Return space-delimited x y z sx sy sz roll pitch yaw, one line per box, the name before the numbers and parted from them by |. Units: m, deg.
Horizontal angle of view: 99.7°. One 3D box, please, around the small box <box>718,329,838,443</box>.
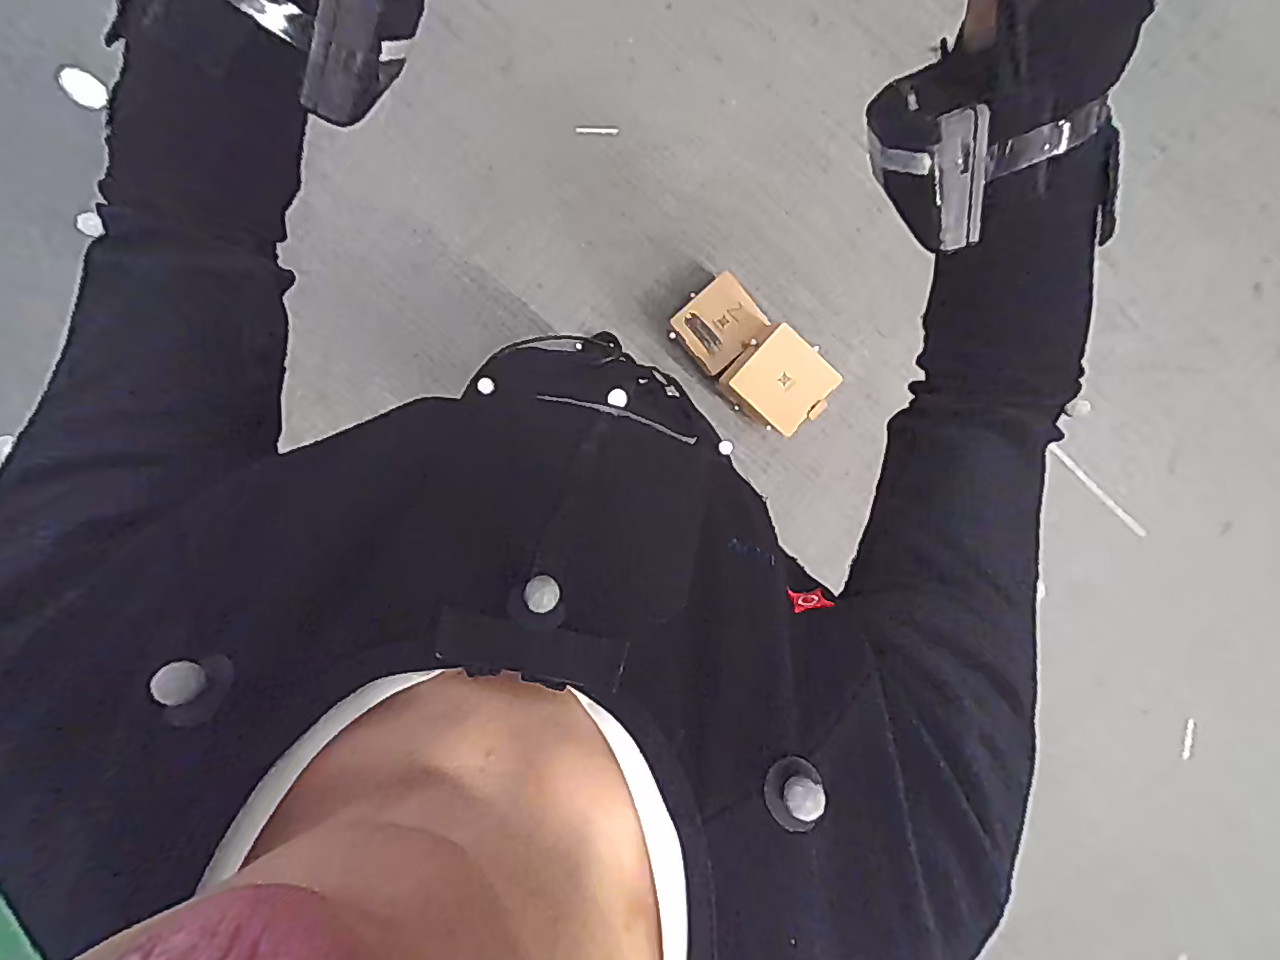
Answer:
small box | 0.291 -0.204 1.185 0.179 0.176 0.168 40 100 -7
